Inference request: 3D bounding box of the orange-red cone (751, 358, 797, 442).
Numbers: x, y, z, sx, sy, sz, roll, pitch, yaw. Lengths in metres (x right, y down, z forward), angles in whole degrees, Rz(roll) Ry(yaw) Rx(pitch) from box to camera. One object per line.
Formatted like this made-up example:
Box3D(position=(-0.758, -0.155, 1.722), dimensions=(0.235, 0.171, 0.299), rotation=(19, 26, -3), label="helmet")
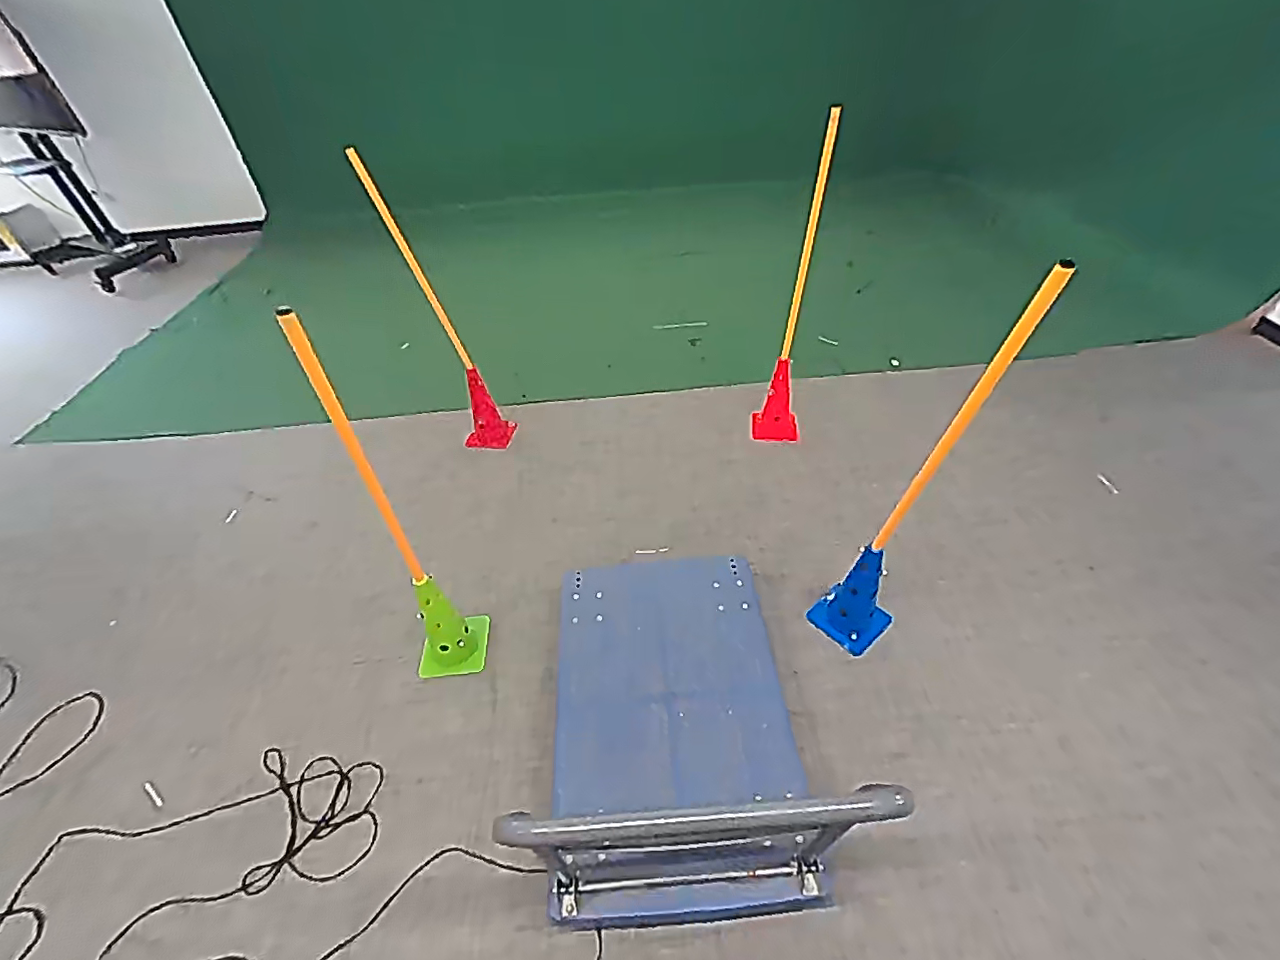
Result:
Box3D(position=(0.585, -0.355, 2.306), dimensions=(0.198, 0.360, 0.199), rotation=(2, 44, 8), label="orange-red cone")
